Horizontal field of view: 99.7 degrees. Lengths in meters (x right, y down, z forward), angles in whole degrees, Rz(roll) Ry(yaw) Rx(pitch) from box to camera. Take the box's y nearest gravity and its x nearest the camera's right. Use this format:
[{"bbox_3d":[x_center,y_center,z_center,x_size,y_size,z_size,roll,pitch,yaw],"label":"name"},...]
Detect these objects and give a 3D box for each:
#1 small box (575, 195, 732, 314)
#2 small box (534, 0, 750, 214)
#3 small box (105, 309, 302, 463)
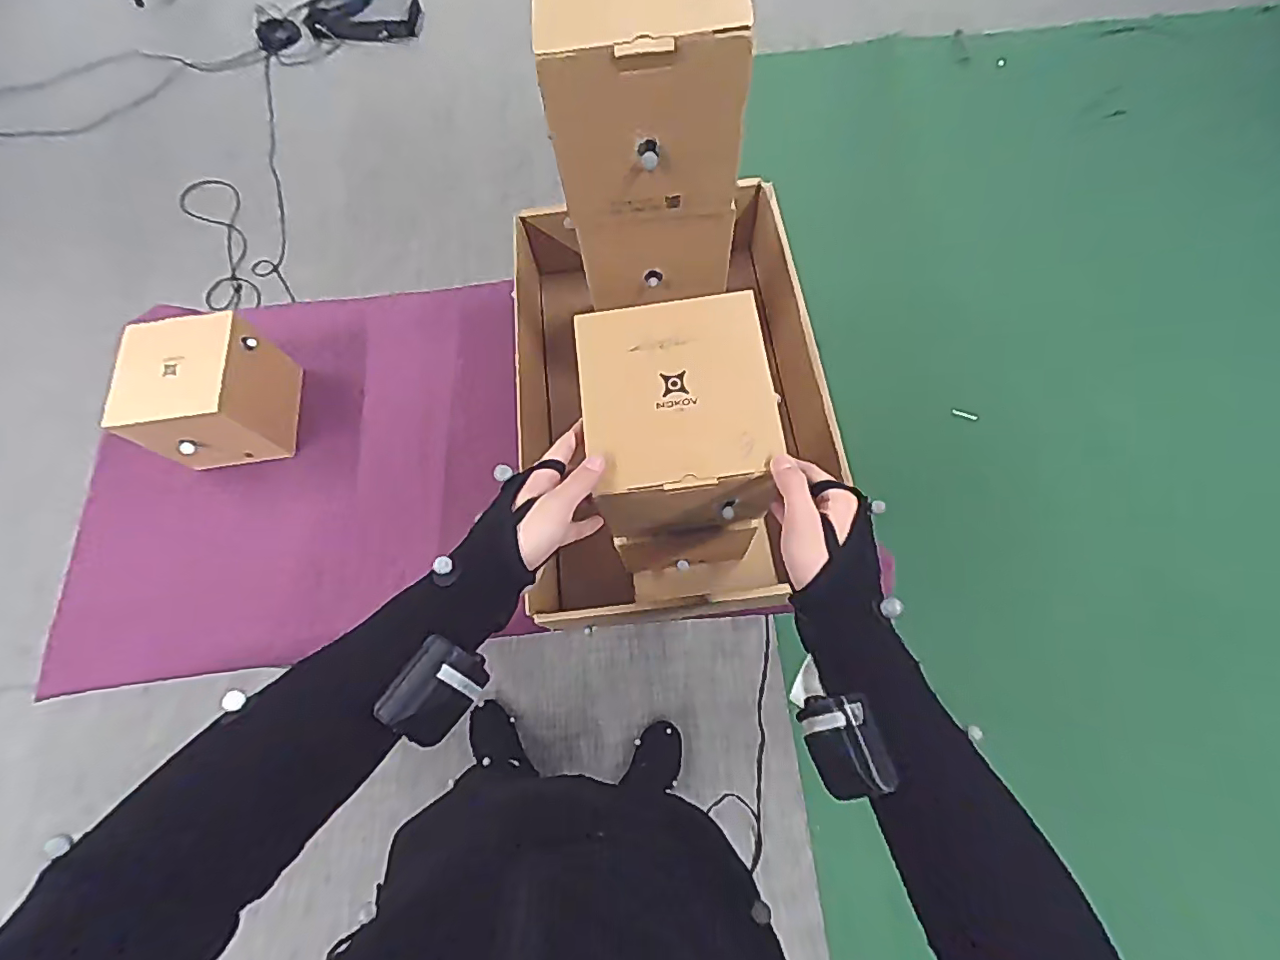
[{"bbox_3d":[0.015,-0.319,0.656,0.168,0.176,0.179,-5,70,1],"label":"small box"},{"bbox_3d":[0.003,-0.372,0.502,0.168,0.176,0.179,-4,71,2],"label":"small box"},{"bbox_3d":[-0.669,-0.137,0.854,0.168,0.176,0.179,-8,68,0],"label":"small box"}]
